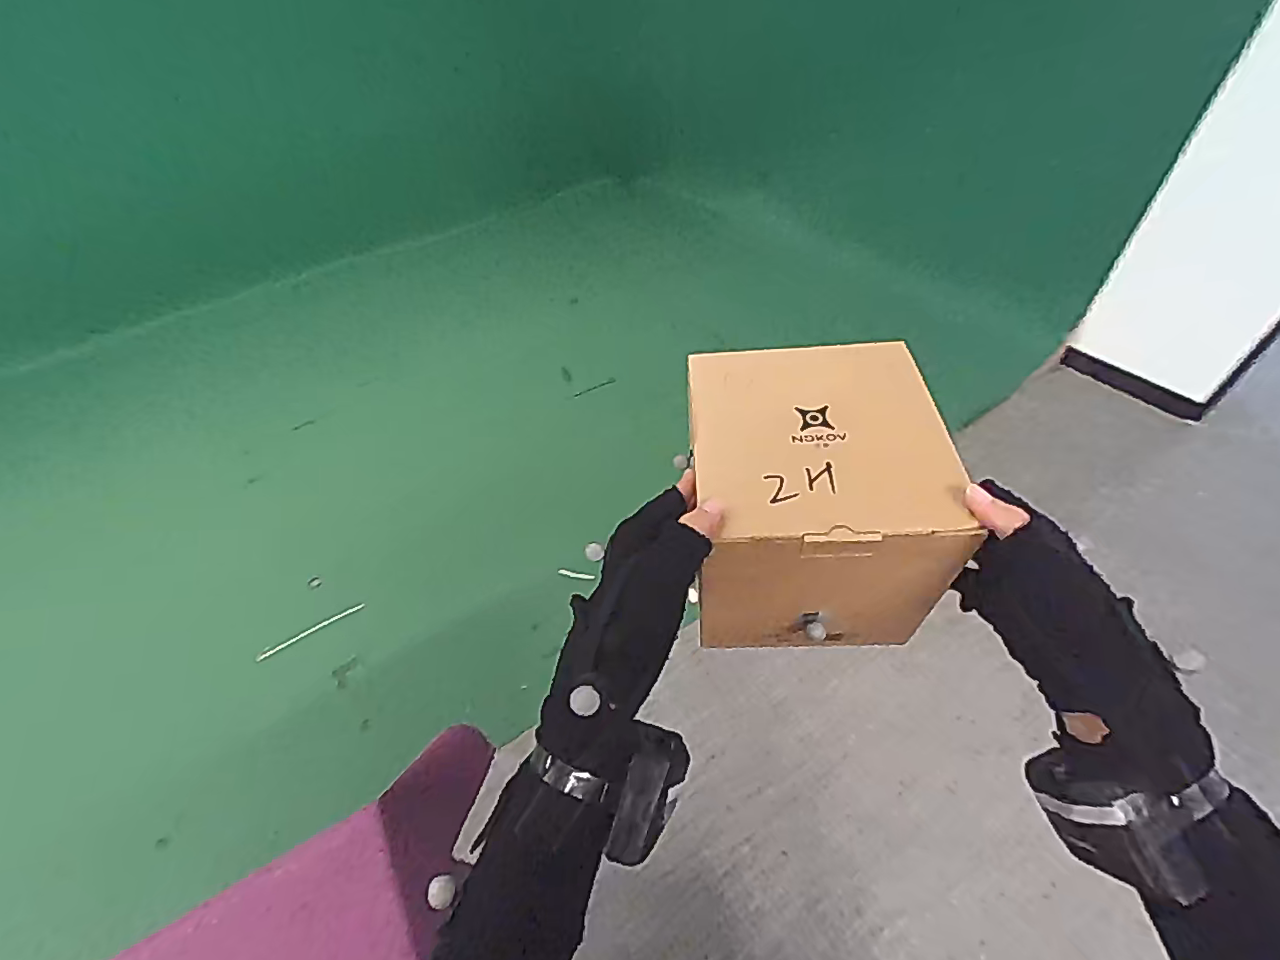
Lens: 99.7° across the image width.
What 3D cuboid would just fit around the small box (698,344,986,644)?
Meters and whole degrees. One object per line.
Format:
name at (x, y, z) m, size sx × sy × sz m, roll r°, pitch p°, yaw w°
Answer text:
small box at (0.130, 0.013, 0.433) m, size 0.168 × 0.176 × 0.179 m, roll -1°, pitch 51°, yaw 6°
